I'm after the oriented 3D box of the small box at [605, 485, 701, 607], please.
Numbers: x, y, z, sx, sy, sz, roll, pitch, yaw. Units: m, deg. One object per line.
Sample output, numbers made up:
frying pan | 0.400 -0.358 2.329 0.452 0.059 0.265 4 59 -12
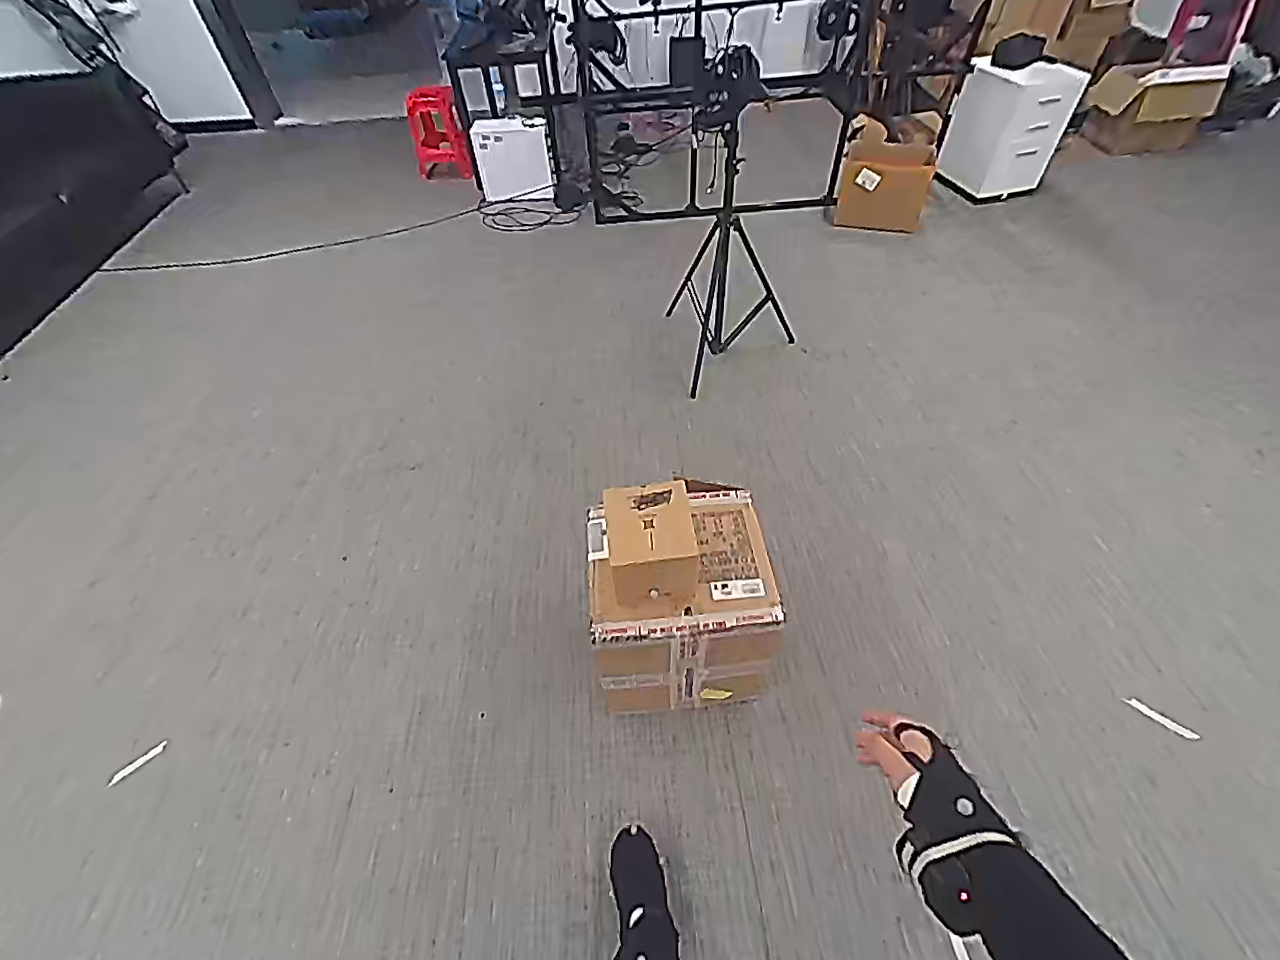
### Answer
small box | 0.023 0.134 1.085 0.168 0.176 0.179 -8 53 -1
